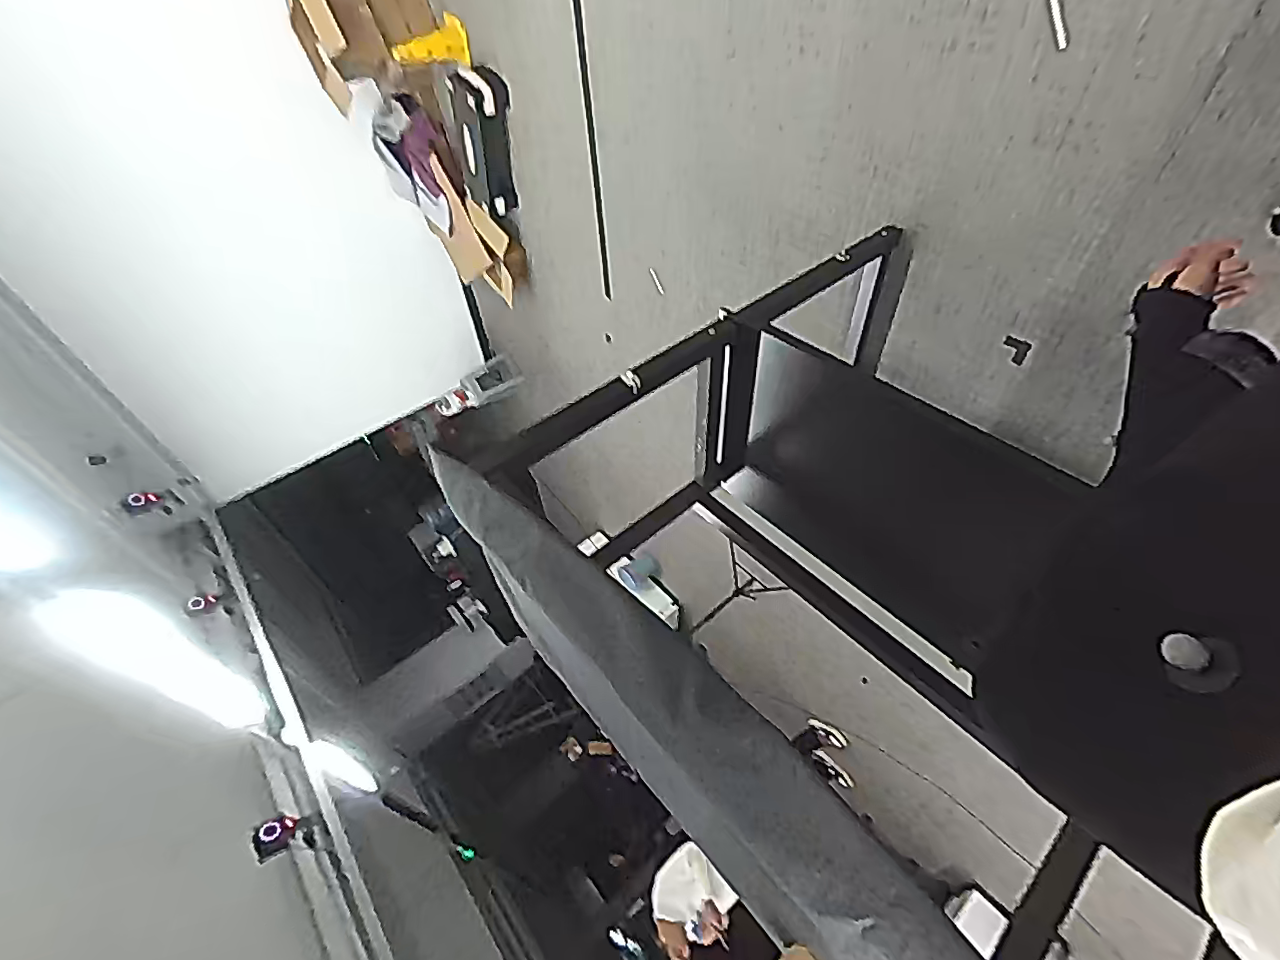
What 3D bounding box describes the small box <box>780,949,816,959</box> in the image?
[{"bbox_3d":[0.243,0.830,0.787,0.179,0.176,0.168,39,151,35],"label":"small box"}]
